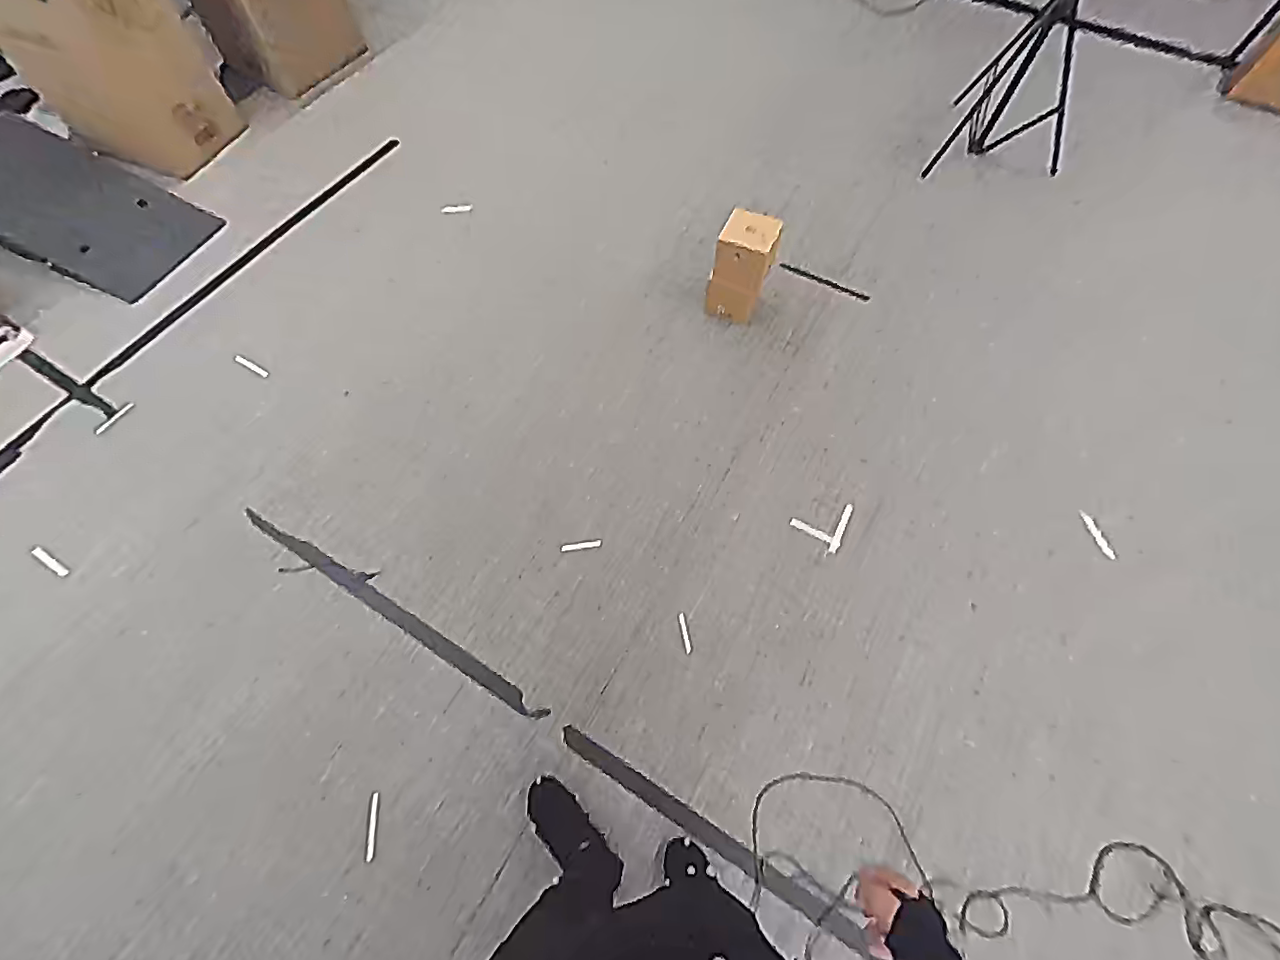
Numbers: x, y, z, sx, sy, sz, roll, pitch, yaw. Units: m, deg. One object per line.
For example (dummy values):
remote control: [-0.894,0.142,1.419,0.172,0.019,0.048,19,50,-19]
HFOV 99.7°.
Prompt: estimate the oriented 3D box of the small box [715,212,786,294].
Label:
small box: [0.367,-0.763,1.830,0.179,0.176,0.168,23,66,11]

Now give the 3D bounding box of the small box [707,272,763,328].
small box: [0.354,-0.694,1.979,0.168,0.176,0.179,24,67,12]
